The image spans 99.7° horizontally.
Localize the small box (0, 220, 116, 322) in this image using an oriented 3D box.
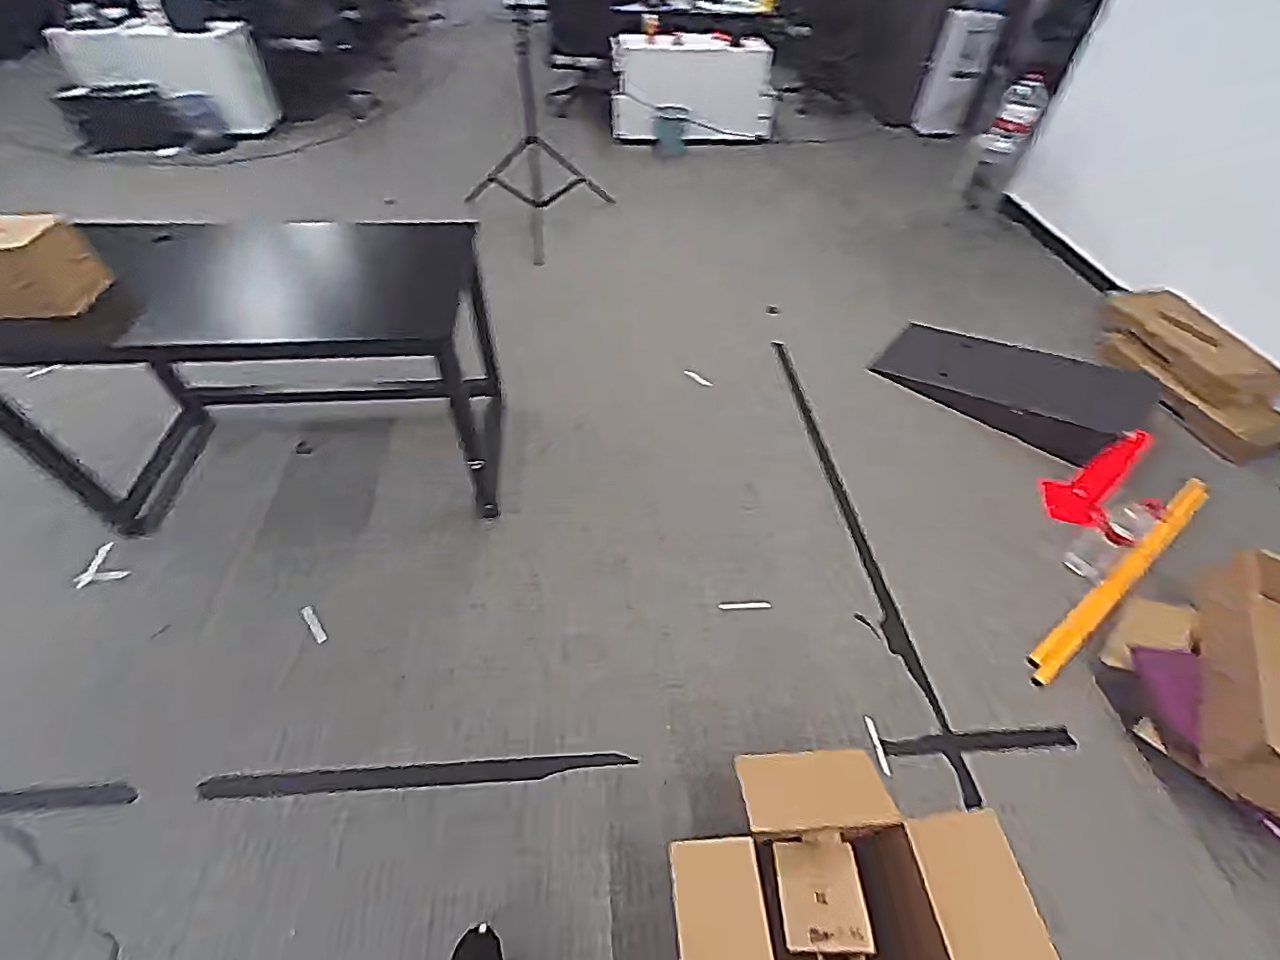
[{"bbox_3d":[-1.401,-0.486,1.262,0.179,0.176,0.168,-5,49,-6],"label":"small box"}]
